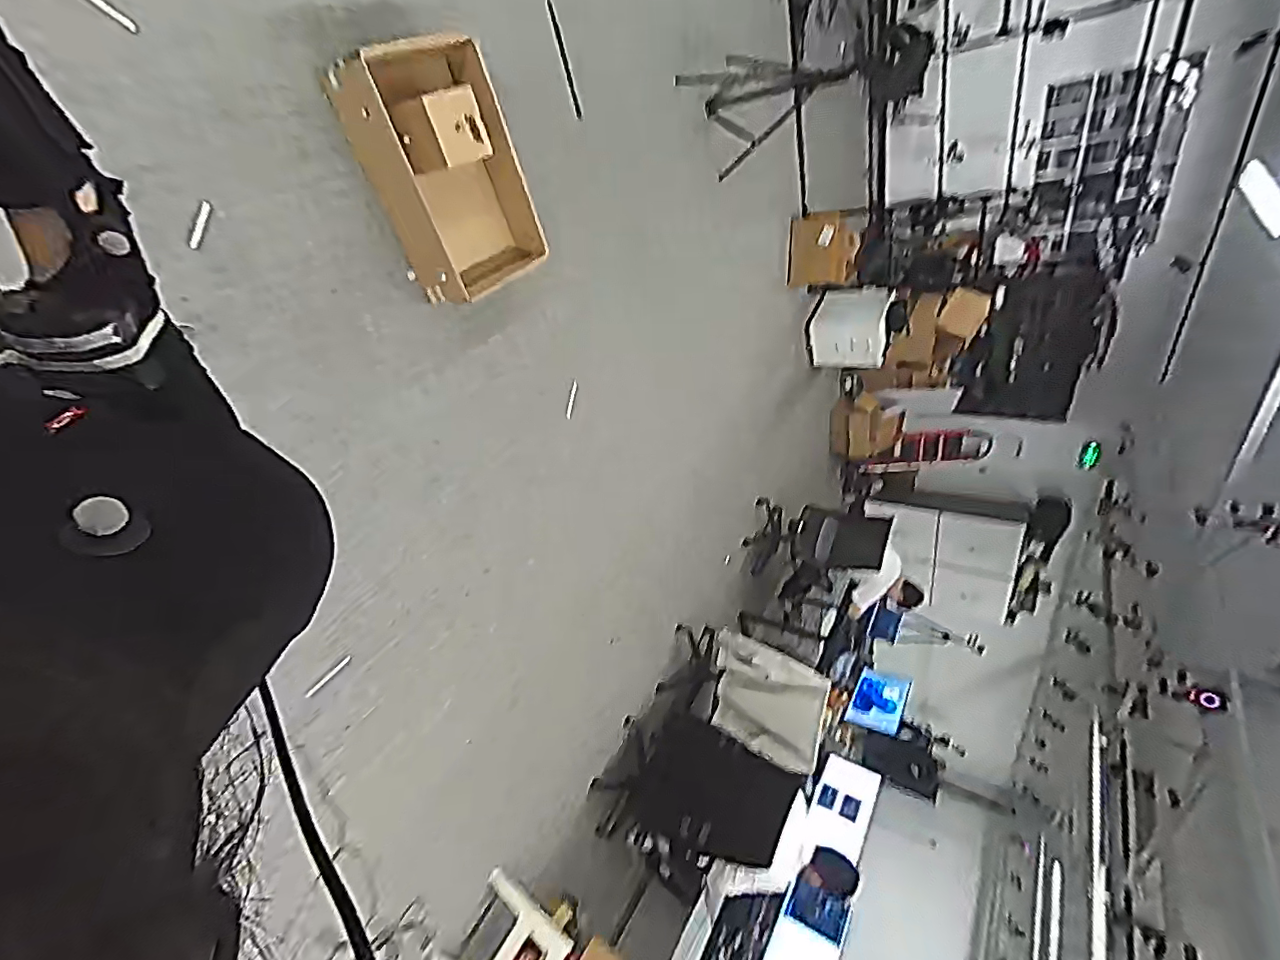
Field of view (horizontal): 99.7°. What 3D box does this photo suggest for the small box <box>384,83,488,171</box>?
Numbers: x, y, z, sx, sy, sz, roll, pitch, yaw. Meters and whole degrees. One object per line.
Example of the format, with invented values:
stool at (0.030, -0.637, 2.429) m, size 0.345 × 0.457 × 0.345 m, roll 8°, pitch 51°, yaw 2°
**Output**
small box at (-0.566, -0.980, 1.505) m, size 0.179 × 0.176 × 0.168 m, roll -49°, pitch 137°, yaw -37°
